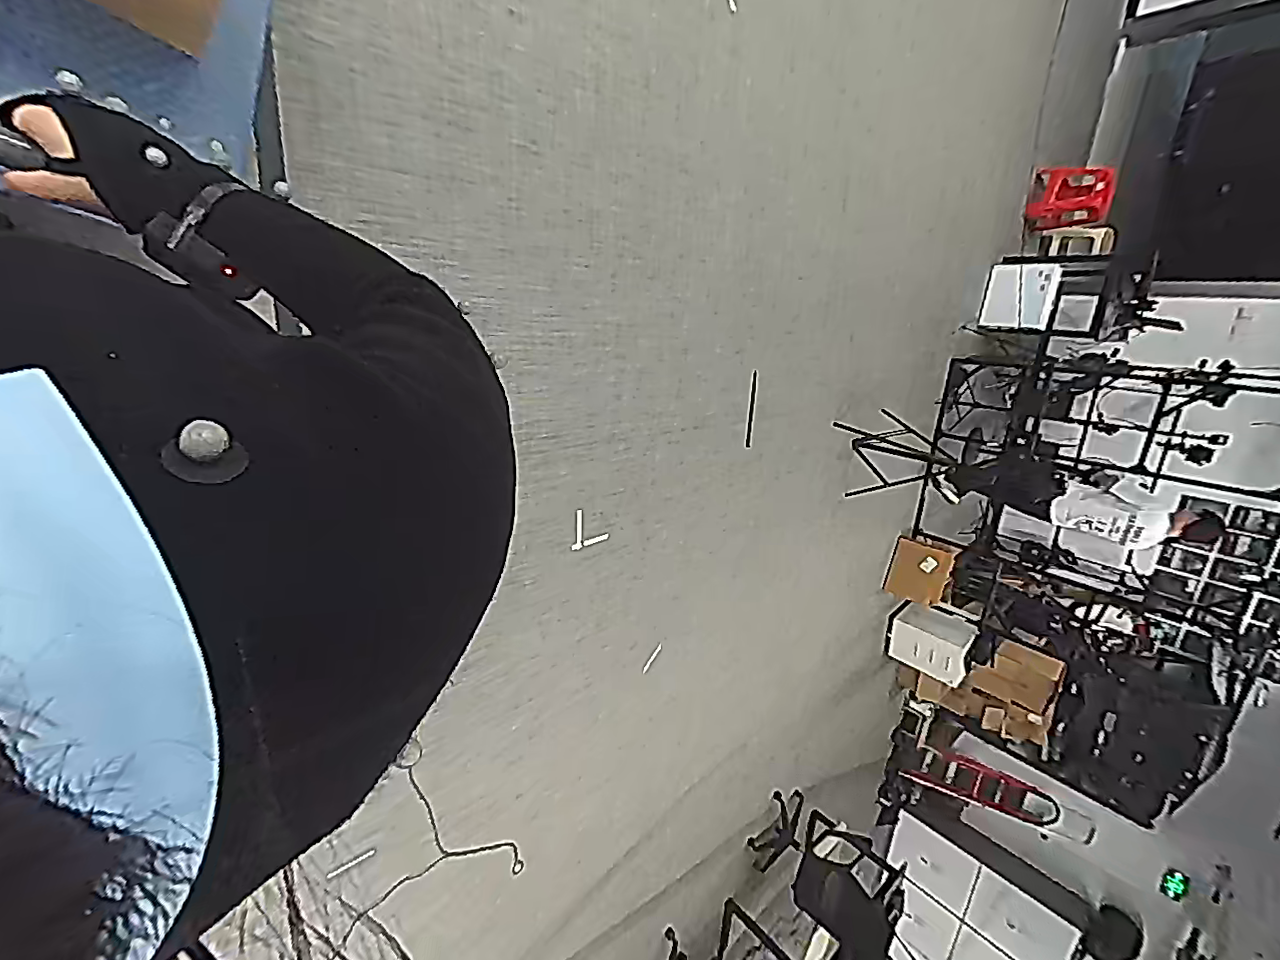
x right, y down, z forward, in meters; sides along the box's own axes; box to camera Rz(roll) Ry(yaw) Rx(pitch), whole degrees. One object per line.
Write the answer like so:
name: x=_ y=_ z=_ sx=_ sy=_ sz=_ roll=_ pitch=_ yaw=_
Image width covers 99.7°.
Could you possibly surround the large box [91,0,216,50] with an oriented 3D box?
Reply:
large box: x=-0.762 y=-0.852 z=0.665 sx=0.408 sy=0.320 sz=0.320 roll=9 pitch=98 yaw=-45
